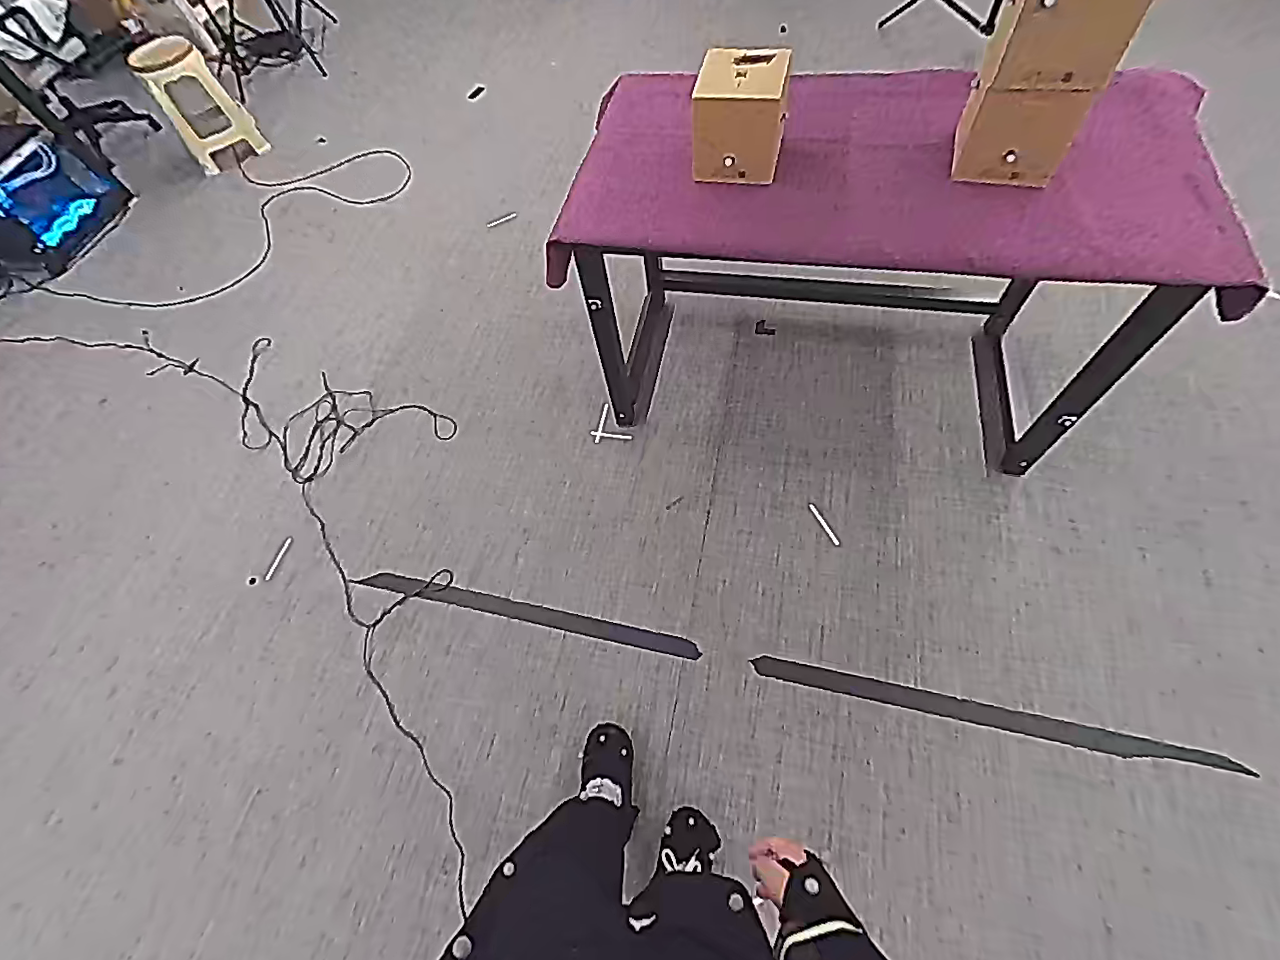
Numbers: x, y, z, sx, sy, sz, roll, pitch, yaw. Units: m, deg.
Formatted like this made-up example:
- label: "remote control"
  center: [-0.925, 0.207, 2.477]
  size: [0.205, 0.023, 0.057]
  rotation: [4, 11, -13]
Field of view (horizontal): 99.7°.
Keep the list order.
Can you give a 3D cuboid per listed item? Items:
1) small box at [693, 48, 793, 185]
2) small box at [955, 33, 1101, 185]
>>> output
- label: "small box"
  center: [0.204, -0.728, 1.086]
  size: [0.168, 0.176, 0.179]
  rotation: [10, 64, 13]
- label: "small box"
  center: [0.700, -0.679, 0.993]
  size: [0.168, 0.176, 0.179]
  rotation: [13, 64, 15]
